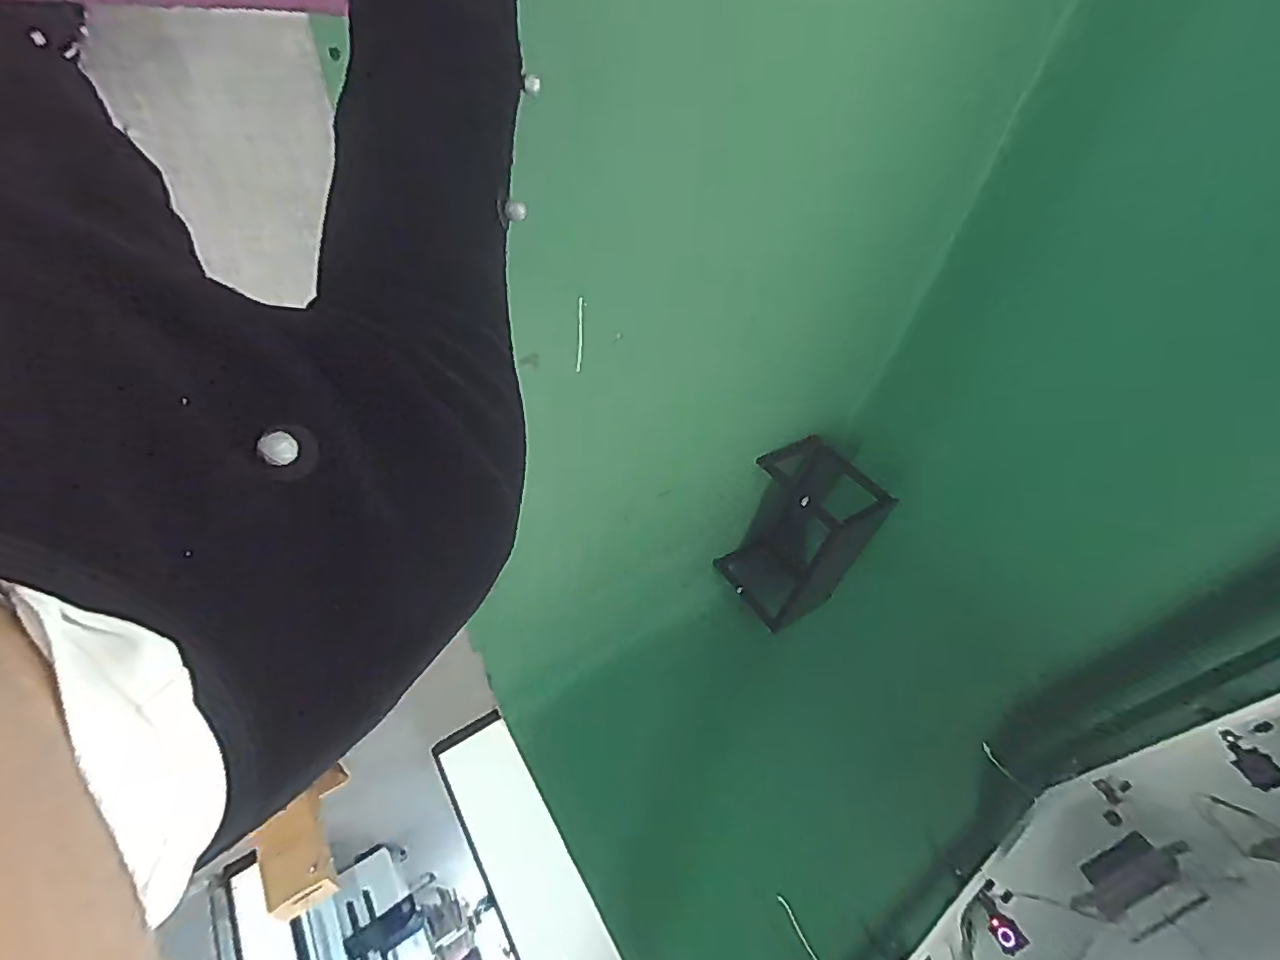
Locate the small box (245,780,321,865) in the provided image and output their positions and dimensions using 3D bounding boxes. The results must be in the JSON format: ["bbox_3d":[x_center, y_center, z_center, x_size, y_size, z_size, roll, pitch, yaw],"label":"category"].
[{"bbox_3d":[-1.214,1.161,1.842,0.168,0.176,0.179,-21,142,-28],"label":"small box"}]
